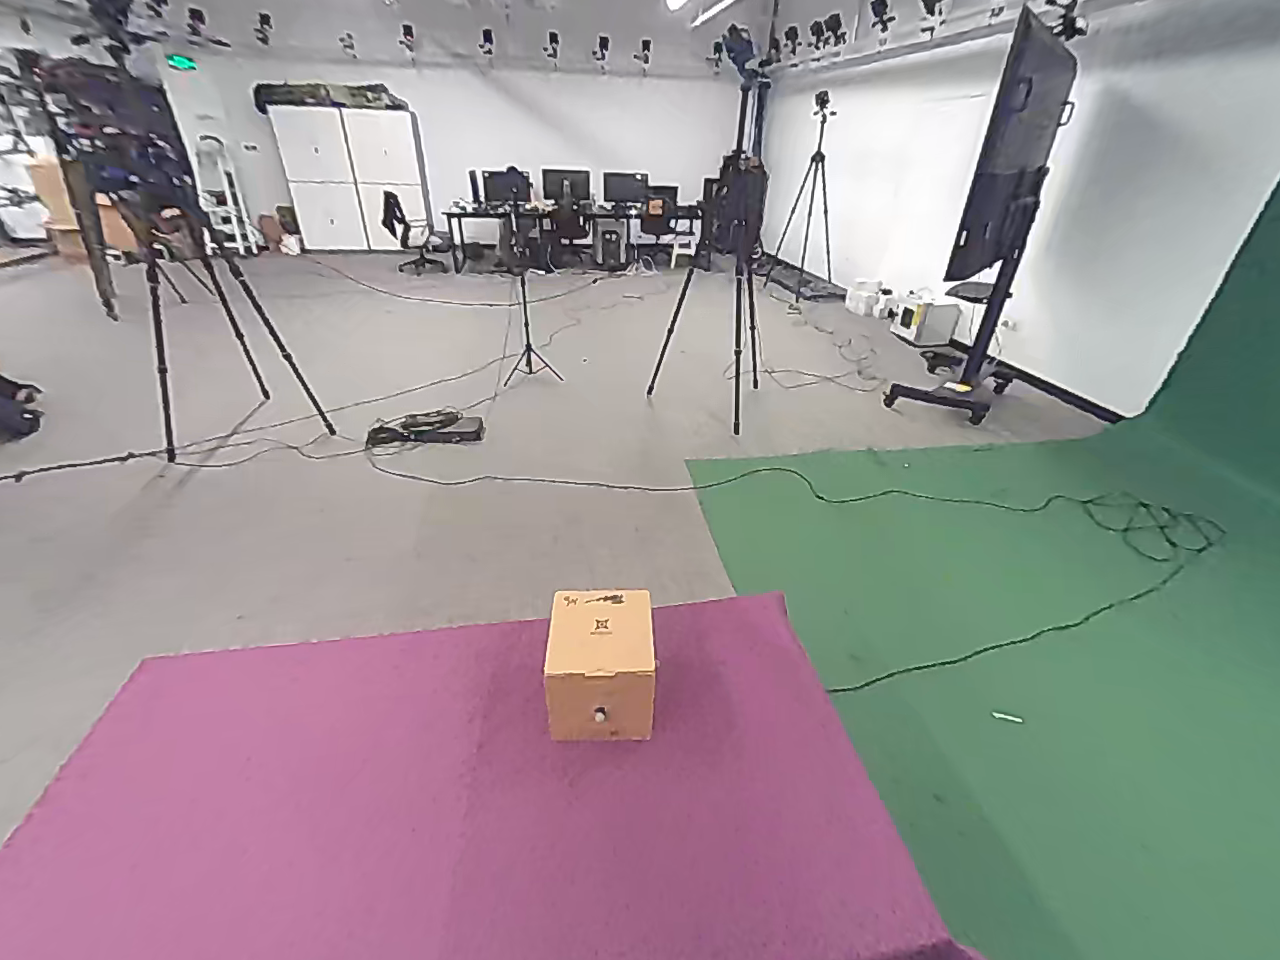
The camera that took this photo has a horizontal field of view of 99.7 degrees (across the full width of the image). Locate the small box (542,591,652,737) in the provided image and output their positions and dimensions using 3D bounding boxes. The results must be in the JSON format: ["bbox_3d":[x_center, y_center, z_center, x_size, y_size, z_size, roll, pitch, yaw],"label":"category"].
[{"bbox_3d":[-0.065,0.308,0.905,0.168,0.176,0.179,0,33,-2],"label":"small box"}]
